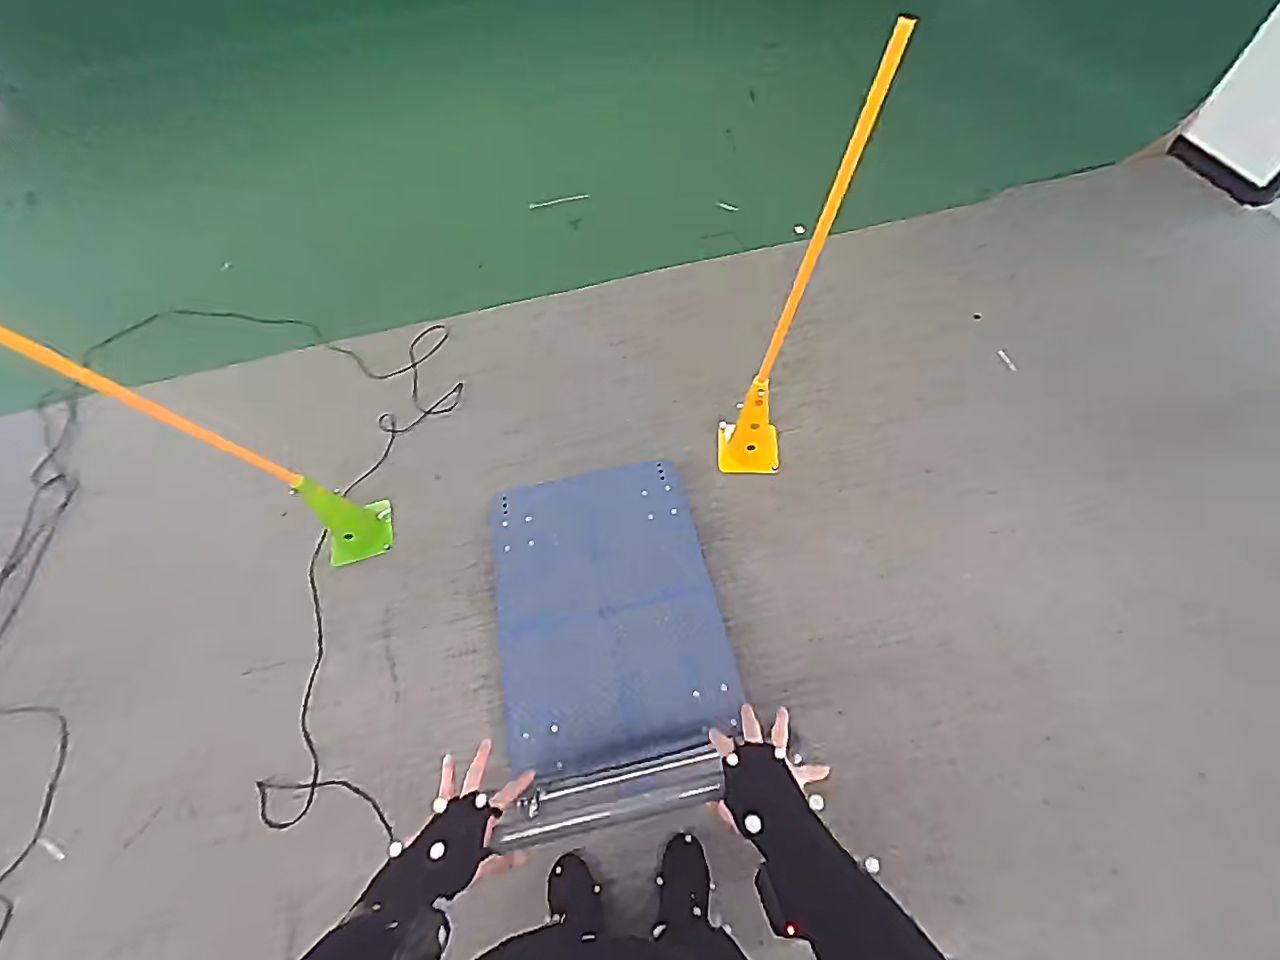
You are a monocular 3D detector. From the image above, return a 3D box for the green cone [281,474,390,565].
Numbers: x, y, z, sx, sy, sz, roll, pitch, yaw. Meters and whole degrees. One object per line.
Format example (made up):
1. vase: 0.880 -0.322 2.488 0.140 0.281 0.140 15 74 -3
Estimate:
1. green cone: -0.948 0.084 1.641 0.202 0.368 0.200 -18 60 -4
